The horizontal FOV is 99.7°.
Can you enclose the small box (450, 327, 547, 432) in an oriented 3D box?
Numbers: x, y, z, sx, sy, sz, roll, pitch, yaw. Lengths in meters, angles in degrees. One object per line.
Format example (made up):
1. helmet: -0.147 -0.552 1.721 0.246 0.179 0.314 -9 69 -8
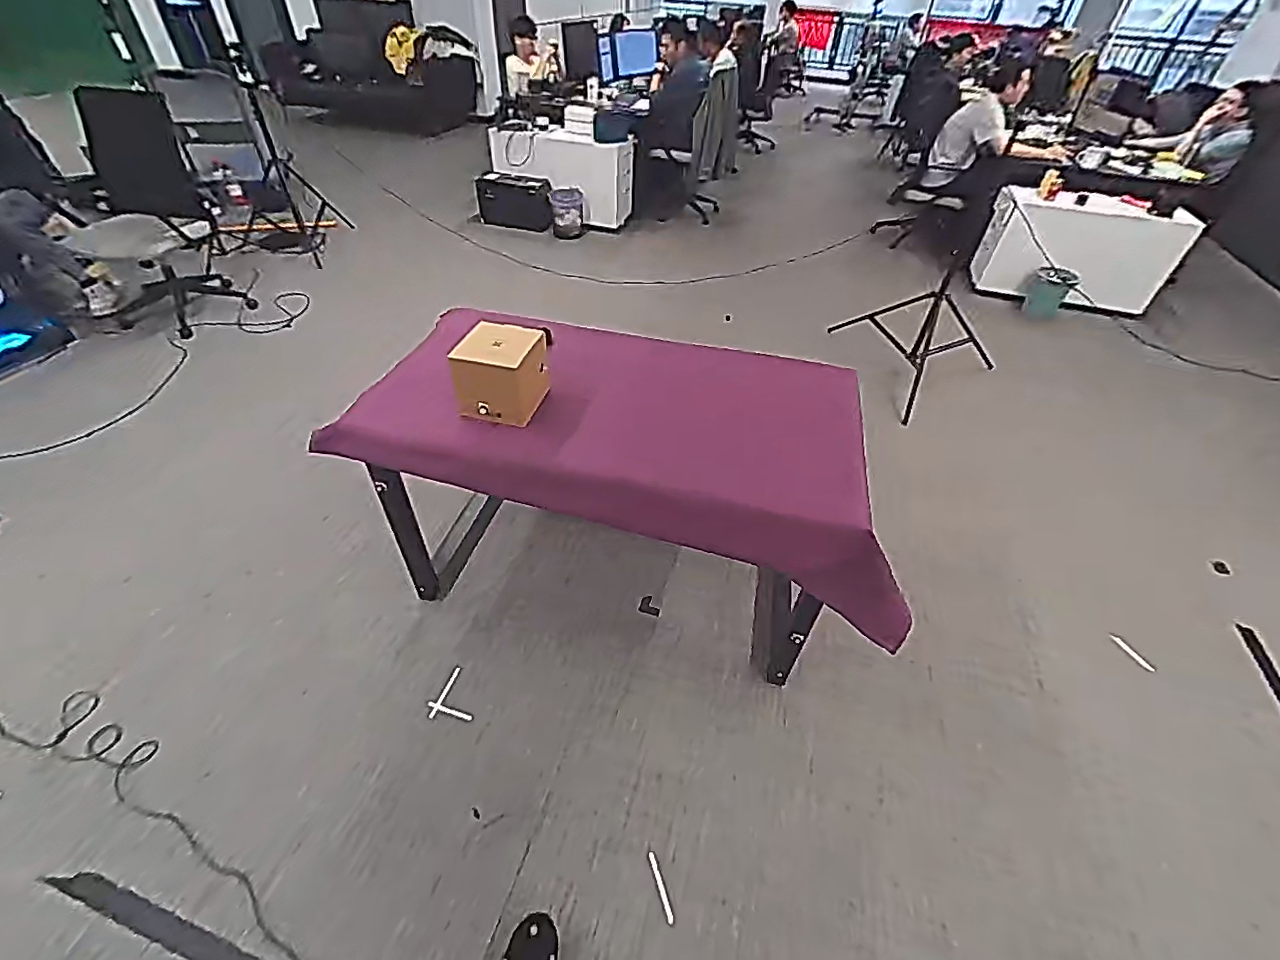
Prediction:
1. small box: -0.327 -0.242 1.294 0.168 0.176 0.179 10 44 8
